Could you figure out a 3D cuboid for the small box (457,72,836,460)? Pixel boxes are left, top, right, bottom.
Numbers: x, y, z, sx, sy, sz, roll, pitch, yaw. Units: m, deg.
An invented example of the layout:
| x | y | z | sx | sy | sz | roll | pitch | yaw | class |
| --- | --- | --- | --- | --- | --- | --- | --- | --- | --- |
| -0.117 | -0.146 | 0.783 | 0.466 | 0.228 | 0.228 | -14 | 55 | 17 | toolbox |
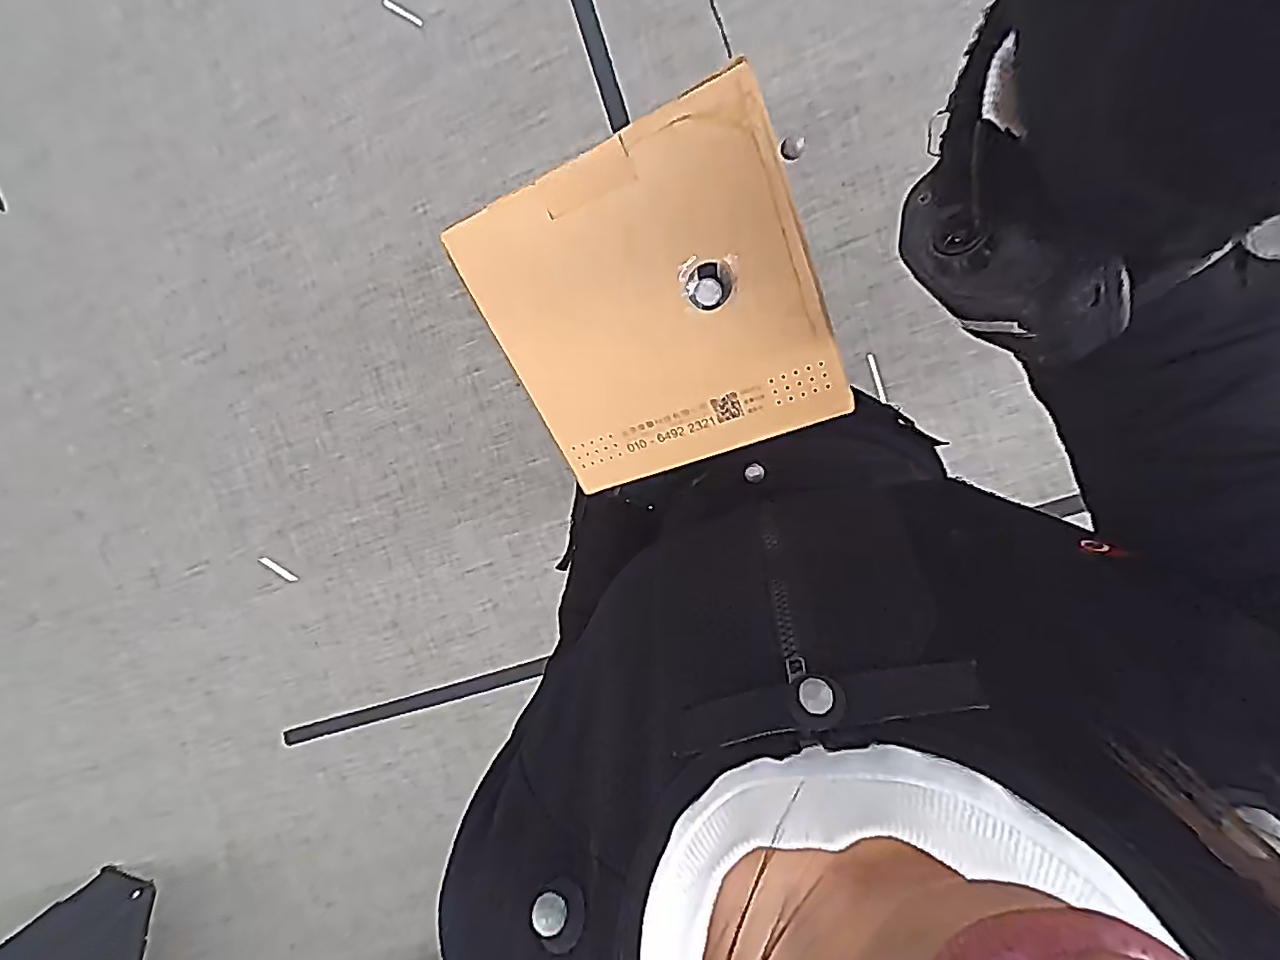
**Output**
| x | y | z | sx | sy | sz | roll | pitch | yaw | class |
| --- | --- | --- | --- | --- | --- | --- | --- | --- | --- |
| 0.022 | -0.129 | 0.362 | 0.168 | 0.179 | 0.176 | -16 | 117 | 22 | small box |
